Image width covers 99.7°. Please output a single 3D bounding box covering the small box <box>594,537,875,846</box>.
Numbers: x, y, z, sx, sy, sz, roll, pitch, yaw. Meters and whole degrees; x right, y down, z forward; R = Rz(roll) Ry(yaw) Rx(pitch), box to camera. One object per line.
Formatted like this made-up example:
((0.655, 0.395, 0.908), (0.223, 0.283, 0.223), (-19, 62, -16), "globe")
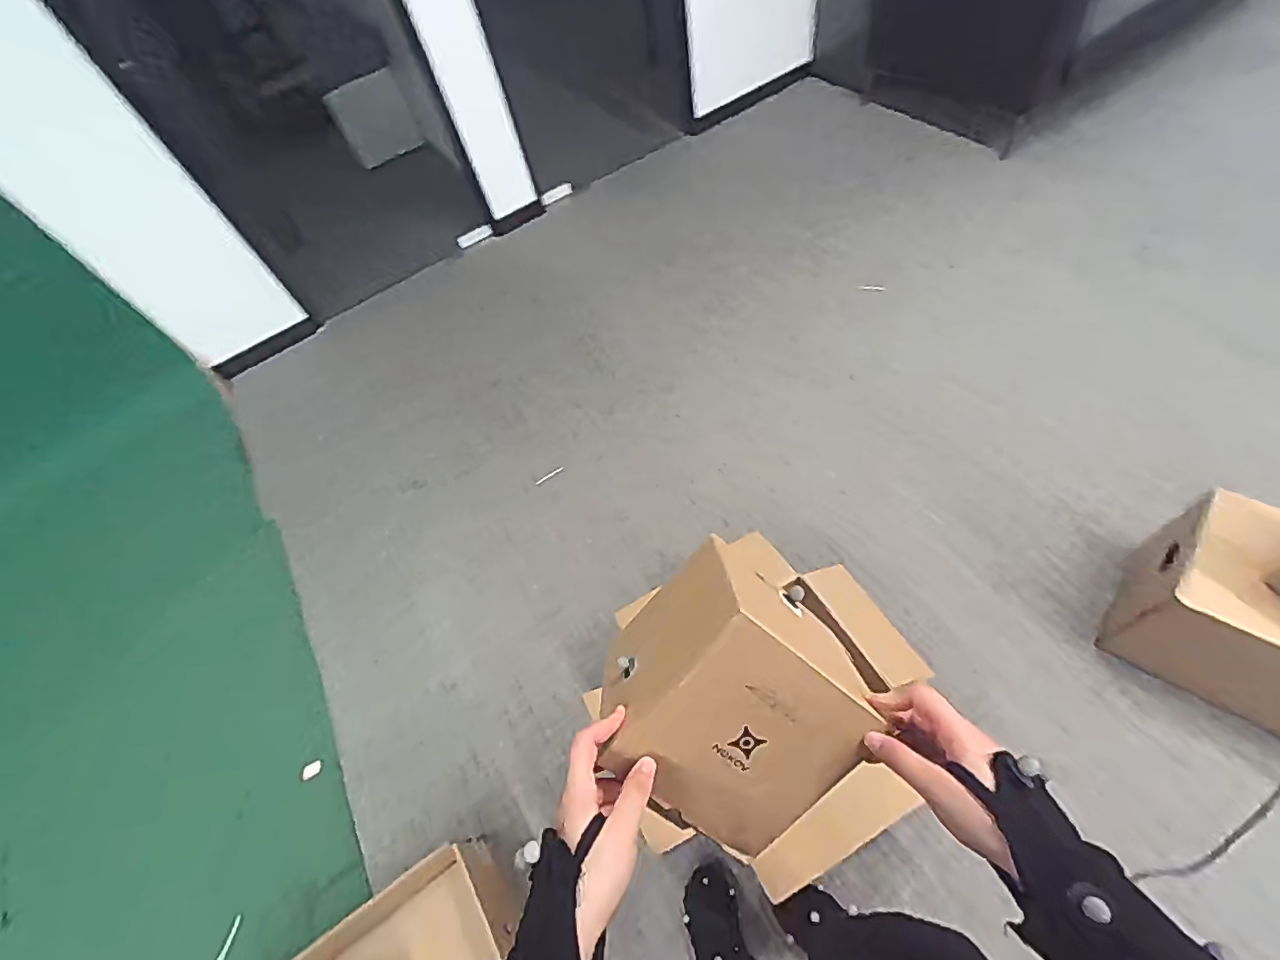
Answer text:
((0.076, 0.186, 0.519), (0.168, 0.176, 0.179), (38, 99, -10), "small box")
